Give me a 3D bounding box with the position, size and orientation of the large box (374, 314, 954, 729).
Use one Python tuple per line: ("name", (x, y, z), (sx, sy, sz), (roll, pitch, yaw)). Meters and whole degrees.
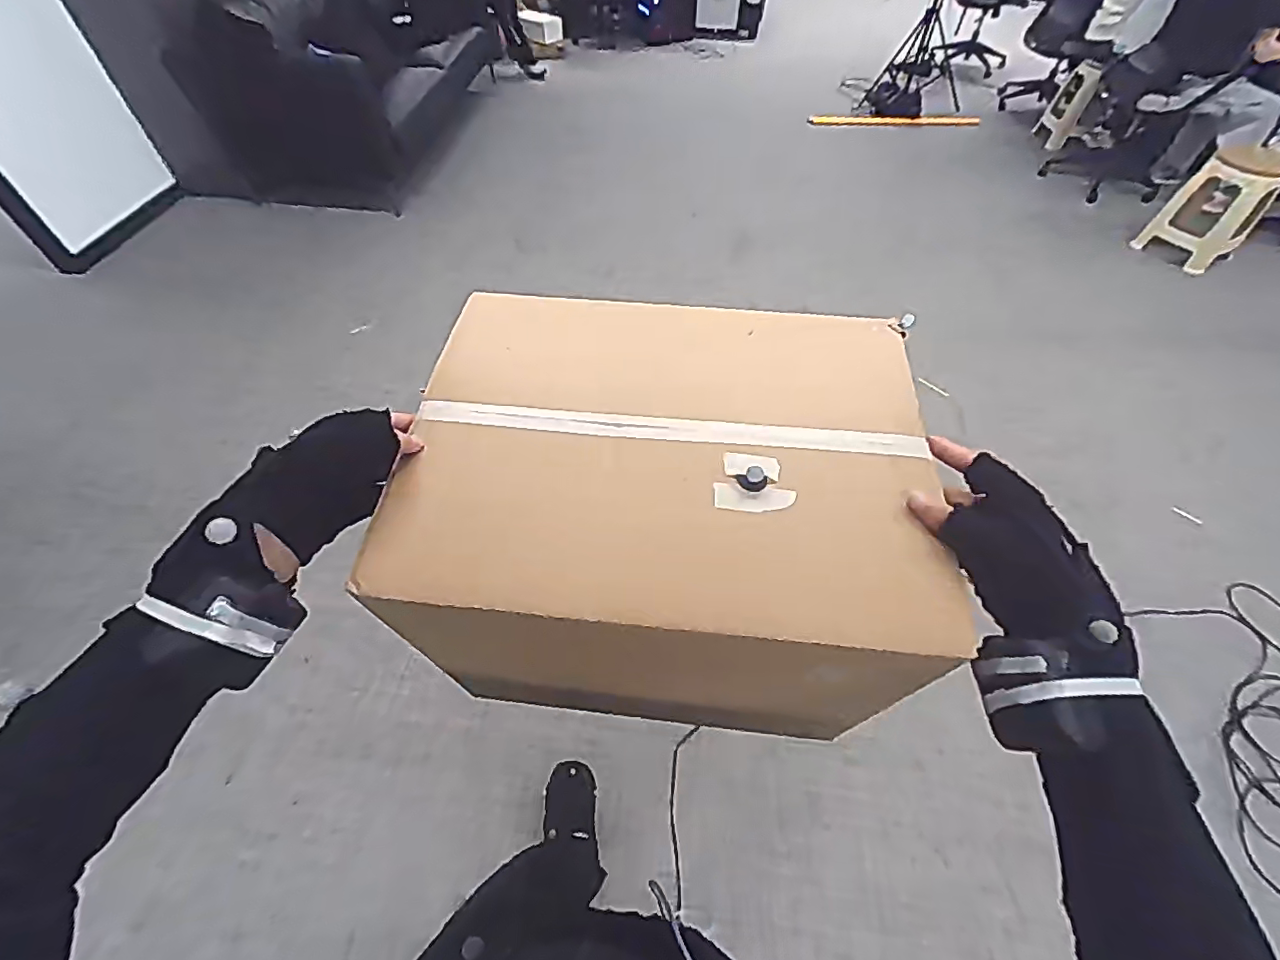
("large box", (0.023, 0.054, 0.569), (0.408, 0.320, 0.320), (4, 57, 4))
